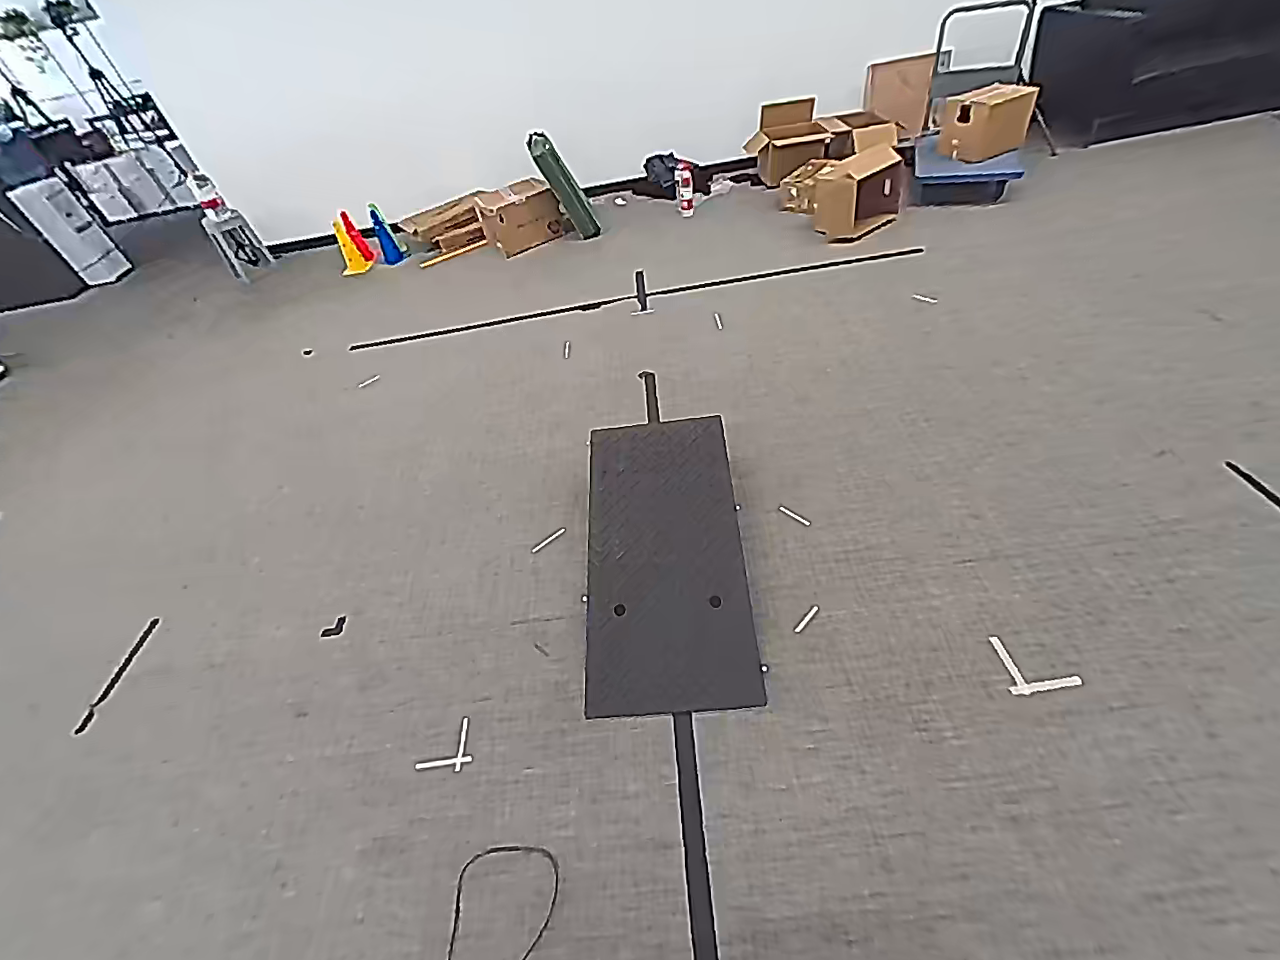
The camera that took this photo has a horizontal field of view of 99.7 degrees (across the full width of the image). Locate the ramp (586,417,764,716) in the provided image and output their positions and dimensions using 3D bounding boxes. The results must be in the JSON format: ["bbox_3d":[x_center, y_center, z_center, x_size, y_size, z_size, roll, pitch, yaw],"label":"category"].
[{"bbox_3d":[0.074,0.206,1.728,0.509,0.206,0.991,-7,45,4],"label":"ramp"}]
